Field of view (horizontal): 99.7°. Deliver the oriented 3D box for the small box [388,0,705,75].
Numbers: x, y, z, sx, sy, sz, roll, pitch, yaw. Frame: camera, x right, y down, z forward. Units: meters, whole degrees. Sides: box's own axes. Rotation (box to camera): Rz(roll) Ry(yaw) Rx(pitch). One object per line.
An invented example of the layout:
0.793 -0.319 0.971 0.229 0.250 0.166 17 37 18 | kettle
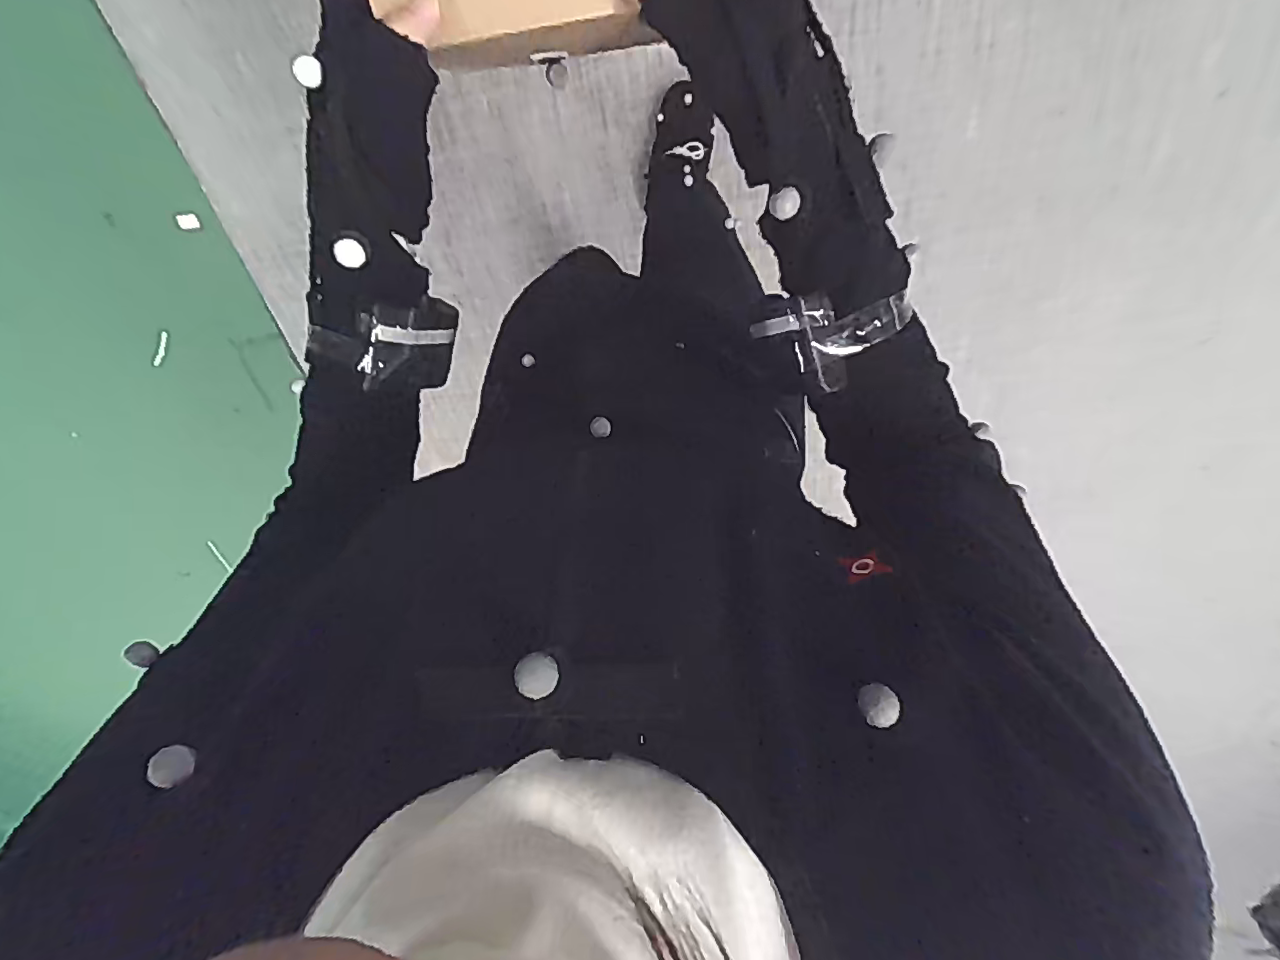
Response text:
-0.057 -0.351 0.300 0.168 0.176 0.179 -7 123 5 | small box
